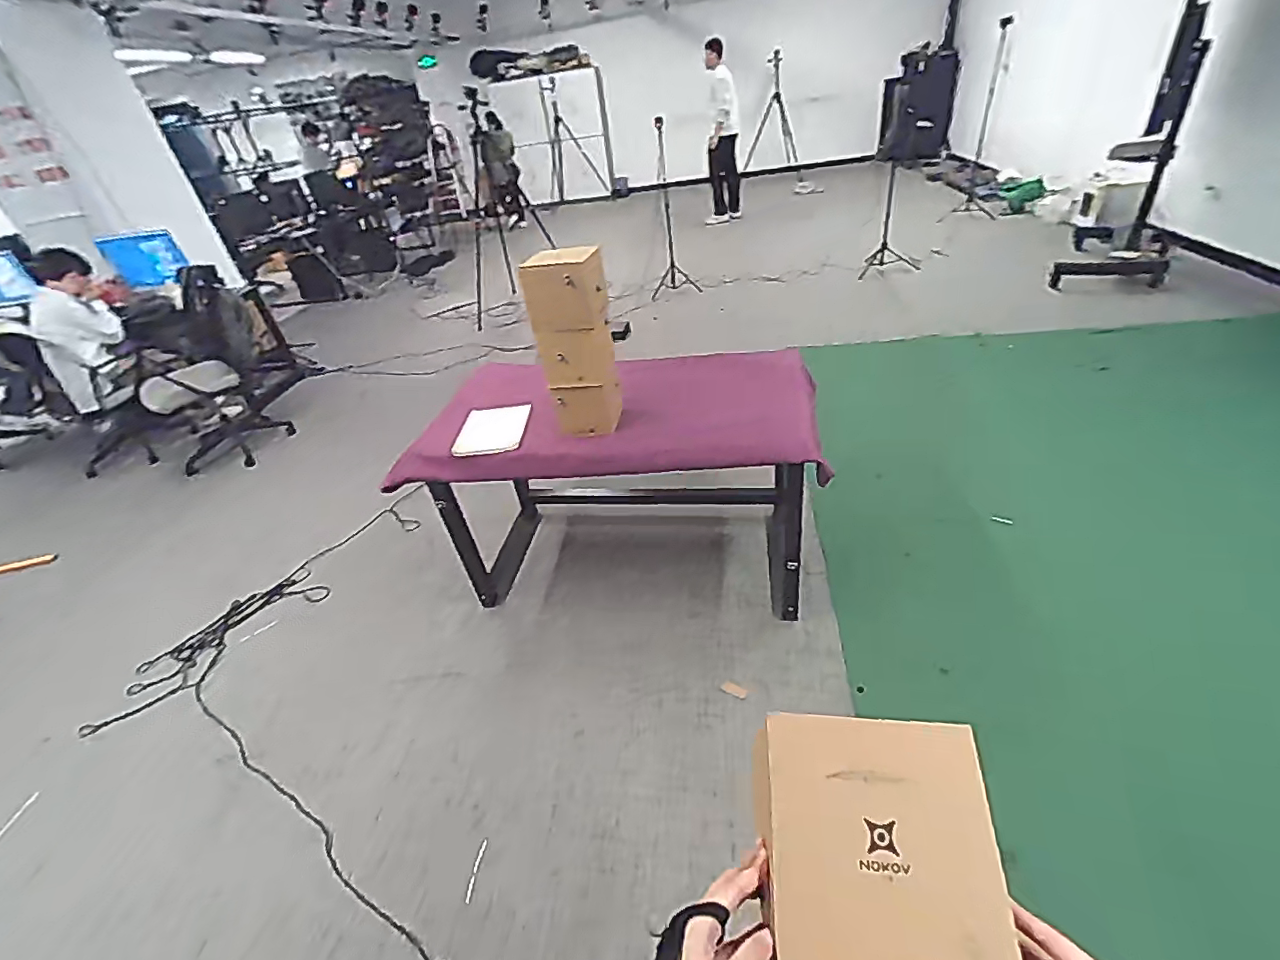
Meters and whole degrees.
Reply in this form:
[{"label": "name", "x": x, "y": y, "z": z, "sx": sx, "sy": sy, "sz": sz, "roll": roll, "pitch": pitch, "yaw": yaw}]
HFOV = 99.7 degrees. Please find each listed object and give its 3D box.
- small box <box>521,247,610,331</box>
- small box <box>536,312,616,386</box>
[{"label": "small box", "x": -0.187, "y": -0.503, "z": 1.428, "sx": 0.179, "sy": 0.176, "sz": 0.168, "roll": 1, "pitch": 35, "yaw": 14}, {"label": "small box", "x": -0.173, "y": -0.372, "z": 1.528, "sx": 0.168, "sy": 0.176, "sz": 0.179, "roll": -1, "pitch": 35, "yaw": 12}]
